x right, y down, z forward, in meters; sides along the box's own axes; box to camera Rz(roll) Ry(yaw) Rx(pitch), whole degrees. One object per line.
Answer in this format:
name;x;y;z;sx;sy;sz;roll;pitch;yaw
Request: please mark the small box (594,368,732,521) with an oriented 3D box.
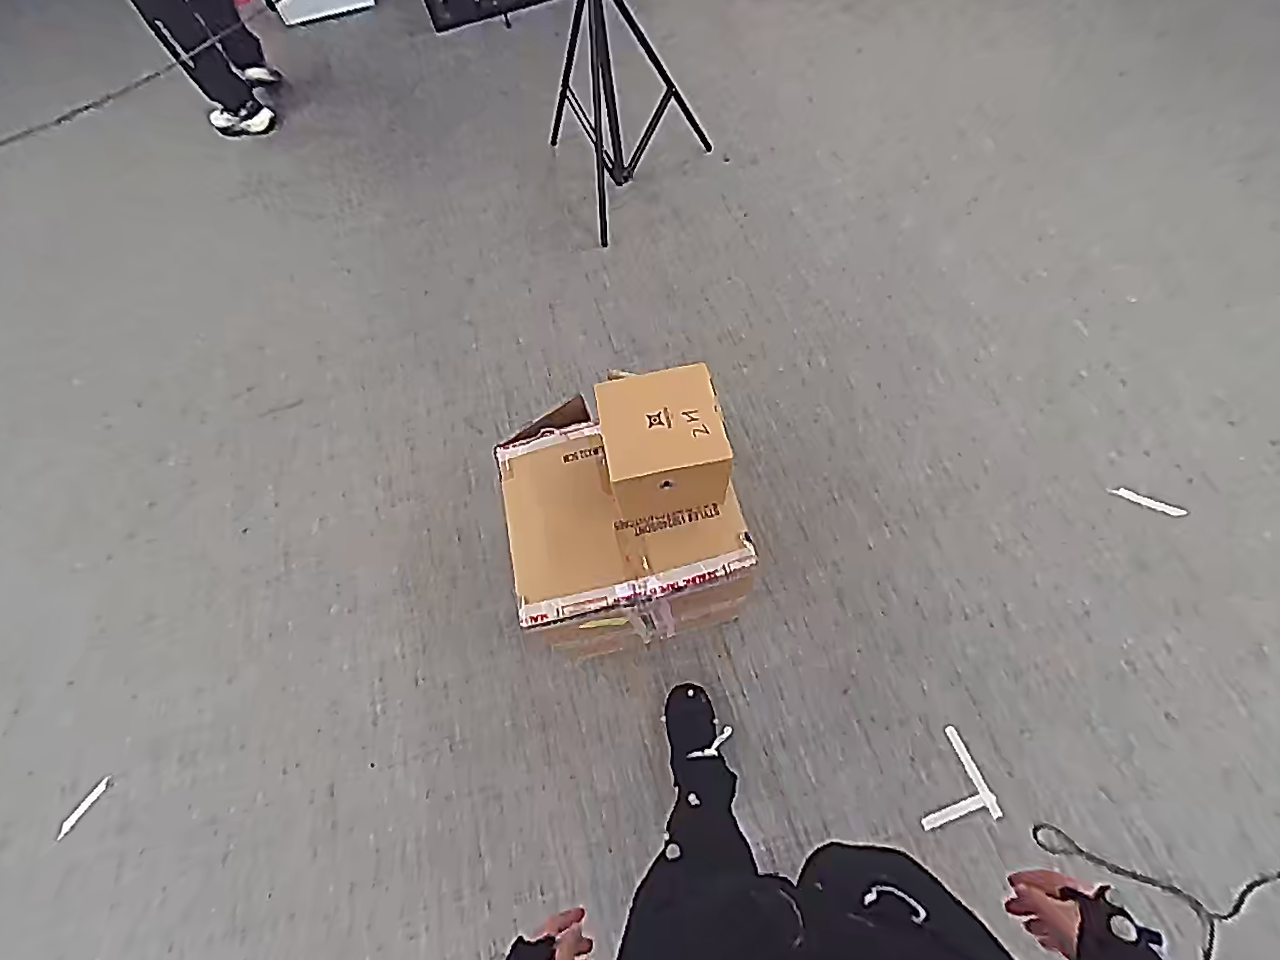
small box;0.036;-0.047;0.846;0.179;0.176;0.168;-11;67;-1
